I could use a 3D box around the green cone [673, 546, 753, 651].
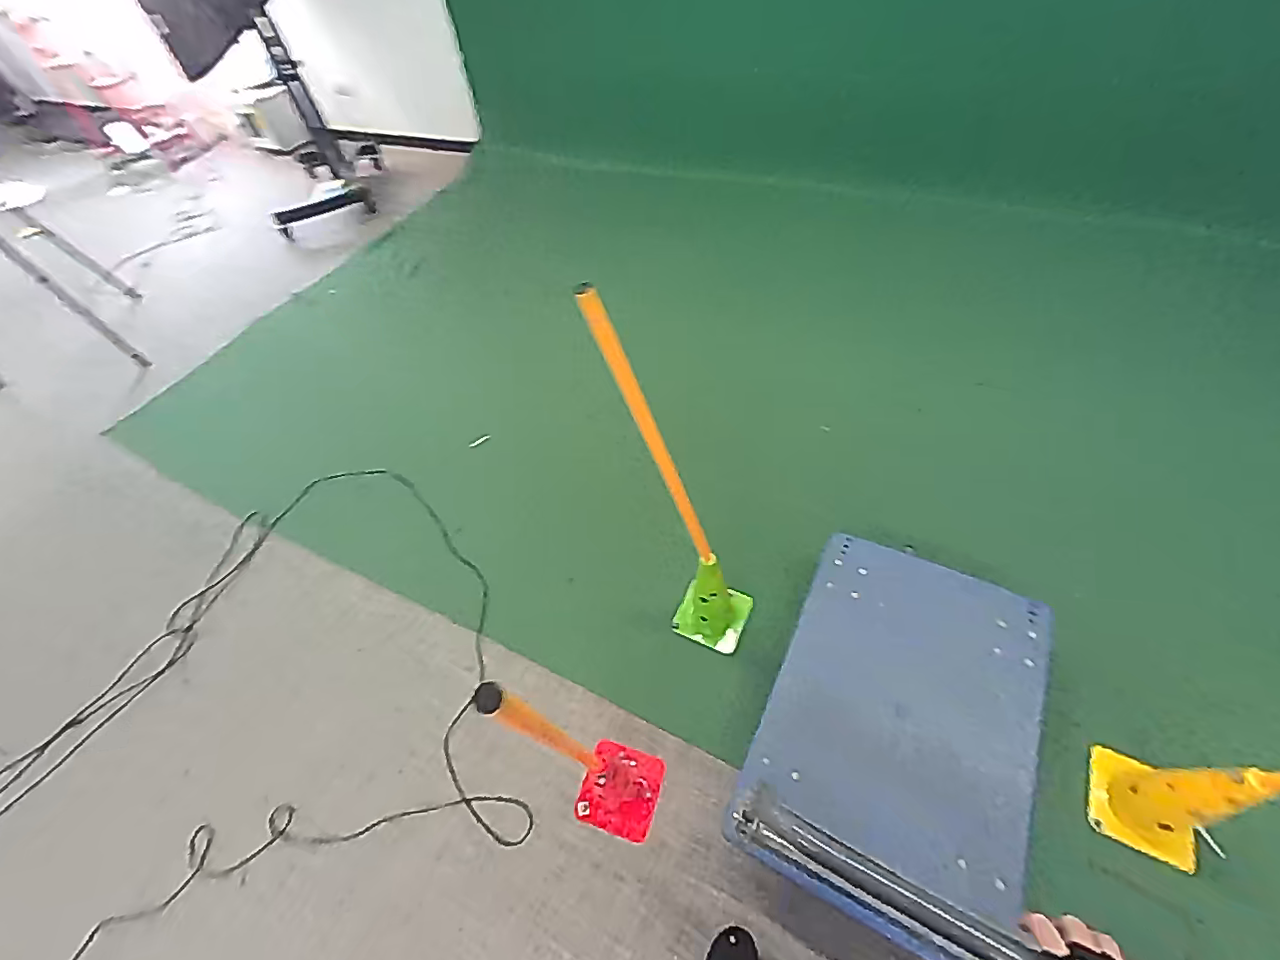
[{"bbox_3d":[0.205,0.300,1.525,0.200,0.368,0.202,19,56,22],"label":"green cone"}]
